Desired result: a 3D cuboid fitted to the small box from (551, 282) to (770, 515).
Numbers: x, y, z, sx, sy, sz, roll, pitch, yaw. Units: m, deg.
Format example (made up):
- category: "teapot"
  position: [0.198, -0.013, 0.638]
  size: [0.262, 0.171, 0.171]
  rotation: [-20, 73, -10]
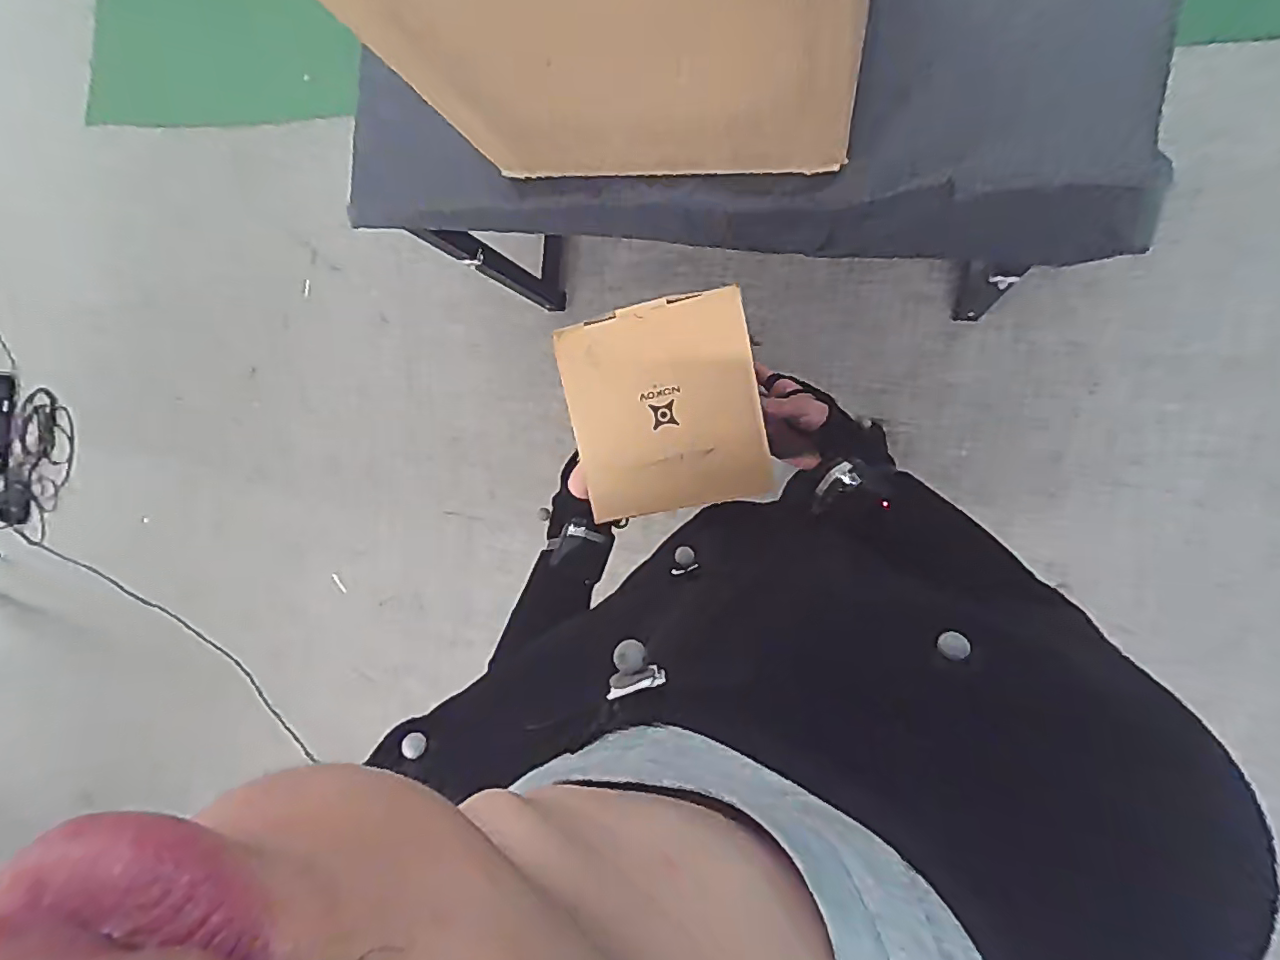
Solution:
- category: "small box"
  position: [0.029, -0.079, 0.541]
  size: [0.168, 0.176, 0.179]
  rotation: [-10, 100, 12]
